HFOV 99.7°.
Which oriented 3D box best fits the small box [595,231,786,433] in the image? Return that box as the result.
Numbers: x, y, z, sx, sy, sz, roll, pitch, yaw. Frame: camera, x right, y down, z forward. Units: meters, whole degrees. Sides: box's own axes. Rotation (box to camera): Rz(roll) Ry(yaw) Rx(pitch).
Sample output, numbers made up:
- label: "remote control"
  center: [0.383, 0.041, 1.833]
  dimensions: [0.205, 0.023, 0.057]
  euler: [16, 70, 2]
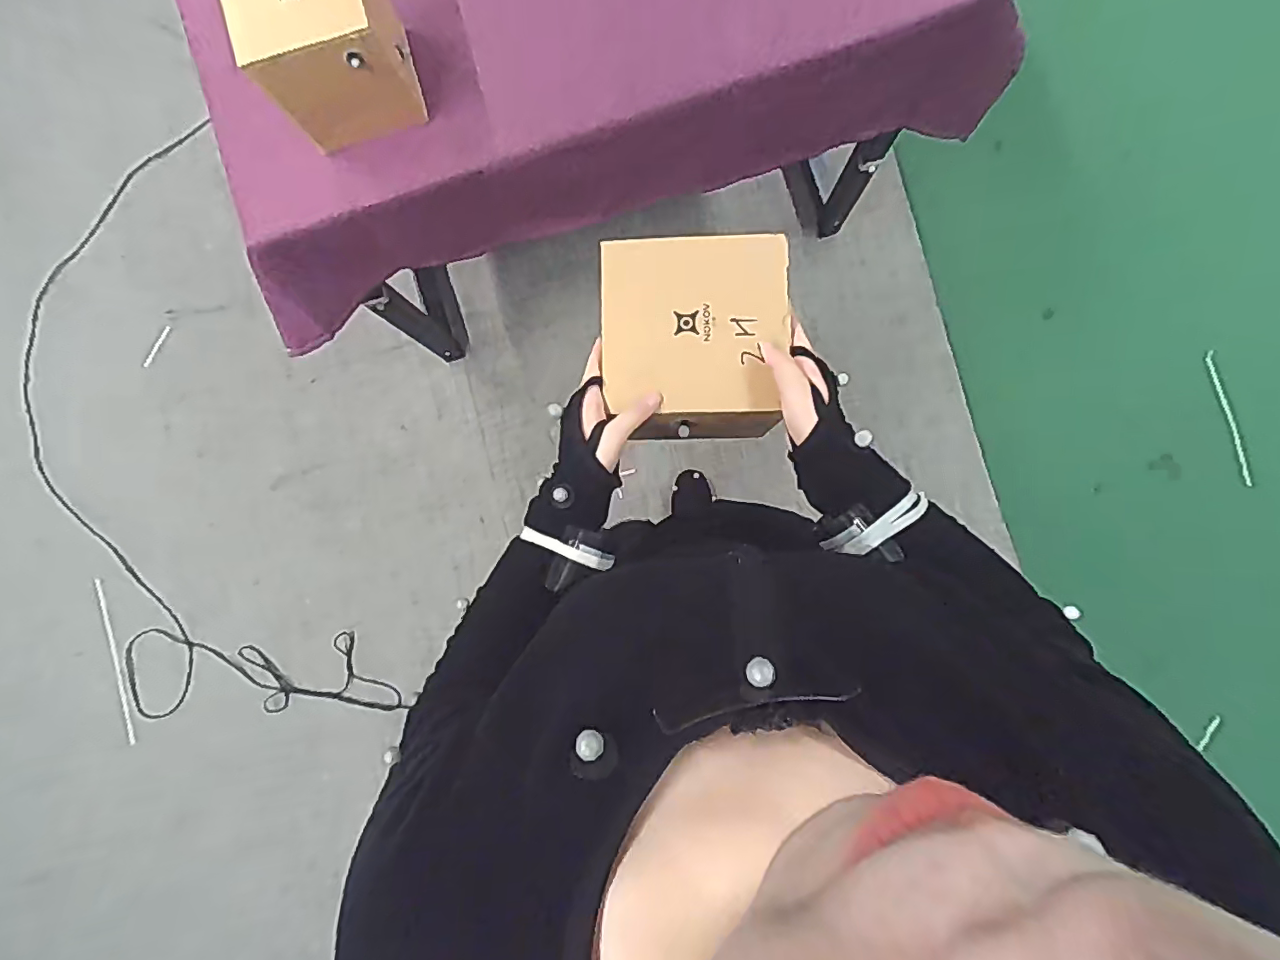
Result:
- label: "small box"
  center: [0.052, -0.142, 0.576]
  dimensions: [0.179, 0.176, 0.168]
  euler: [0, 87, 4]

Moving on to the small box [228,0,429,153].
- label: "small box"
  center: [-0.430, -0.605, 0.764]
  dimensions: [0.179, 0.176, 0.168]
  euler: [-16, 86, 1]
